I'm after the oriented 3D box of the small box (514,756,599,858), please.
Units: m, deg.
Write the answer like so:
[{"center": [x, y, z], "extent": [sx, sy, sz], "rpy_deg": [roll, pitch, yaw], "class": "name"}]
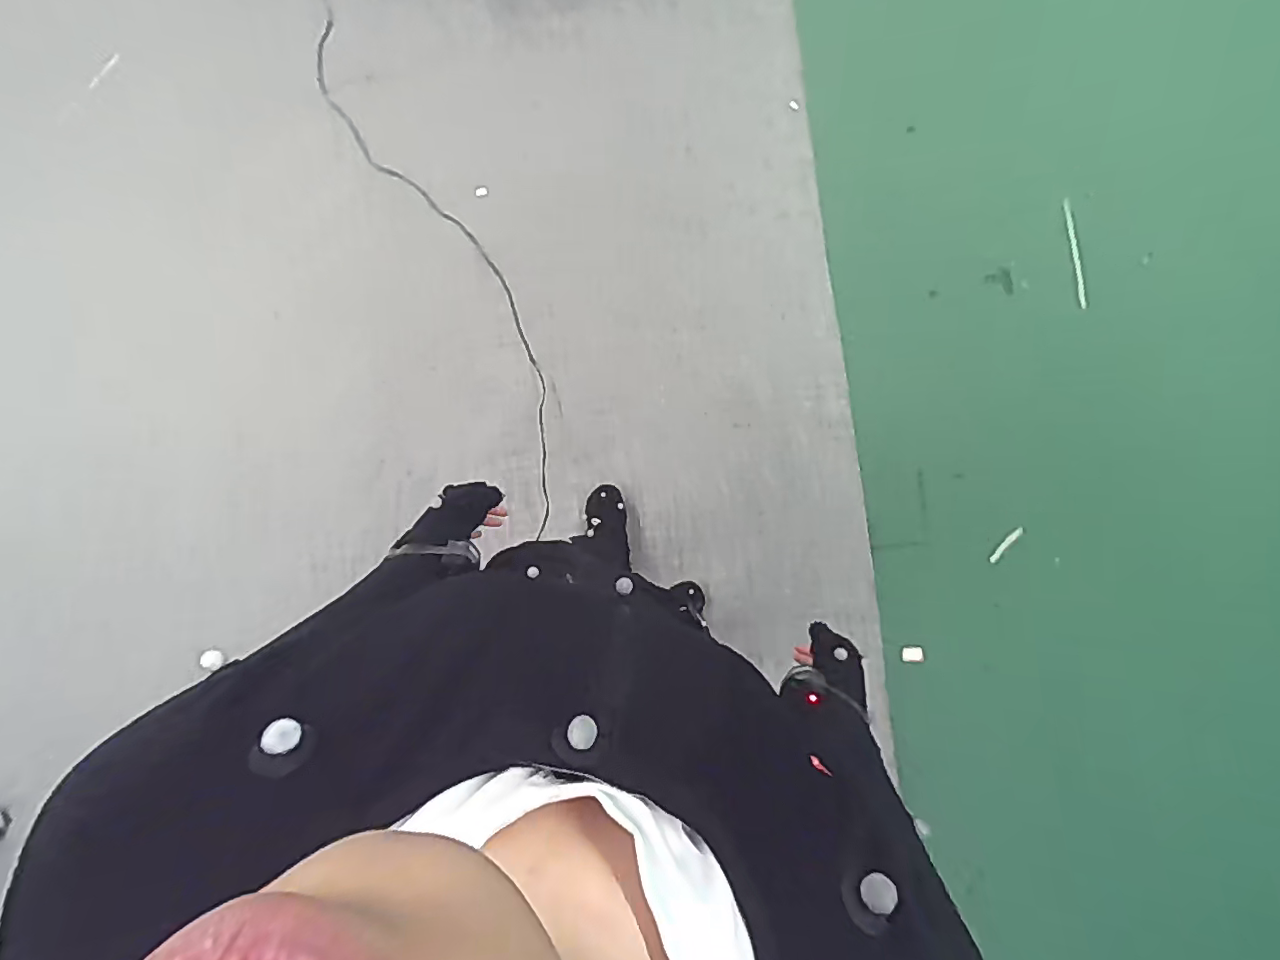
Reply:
[{"center": [-0.201, 0.799, 1.334], "extent": [0.179, 0.176, 0.168], "rpy_deg": [-3, 83, 3], "class": "small box"}]
